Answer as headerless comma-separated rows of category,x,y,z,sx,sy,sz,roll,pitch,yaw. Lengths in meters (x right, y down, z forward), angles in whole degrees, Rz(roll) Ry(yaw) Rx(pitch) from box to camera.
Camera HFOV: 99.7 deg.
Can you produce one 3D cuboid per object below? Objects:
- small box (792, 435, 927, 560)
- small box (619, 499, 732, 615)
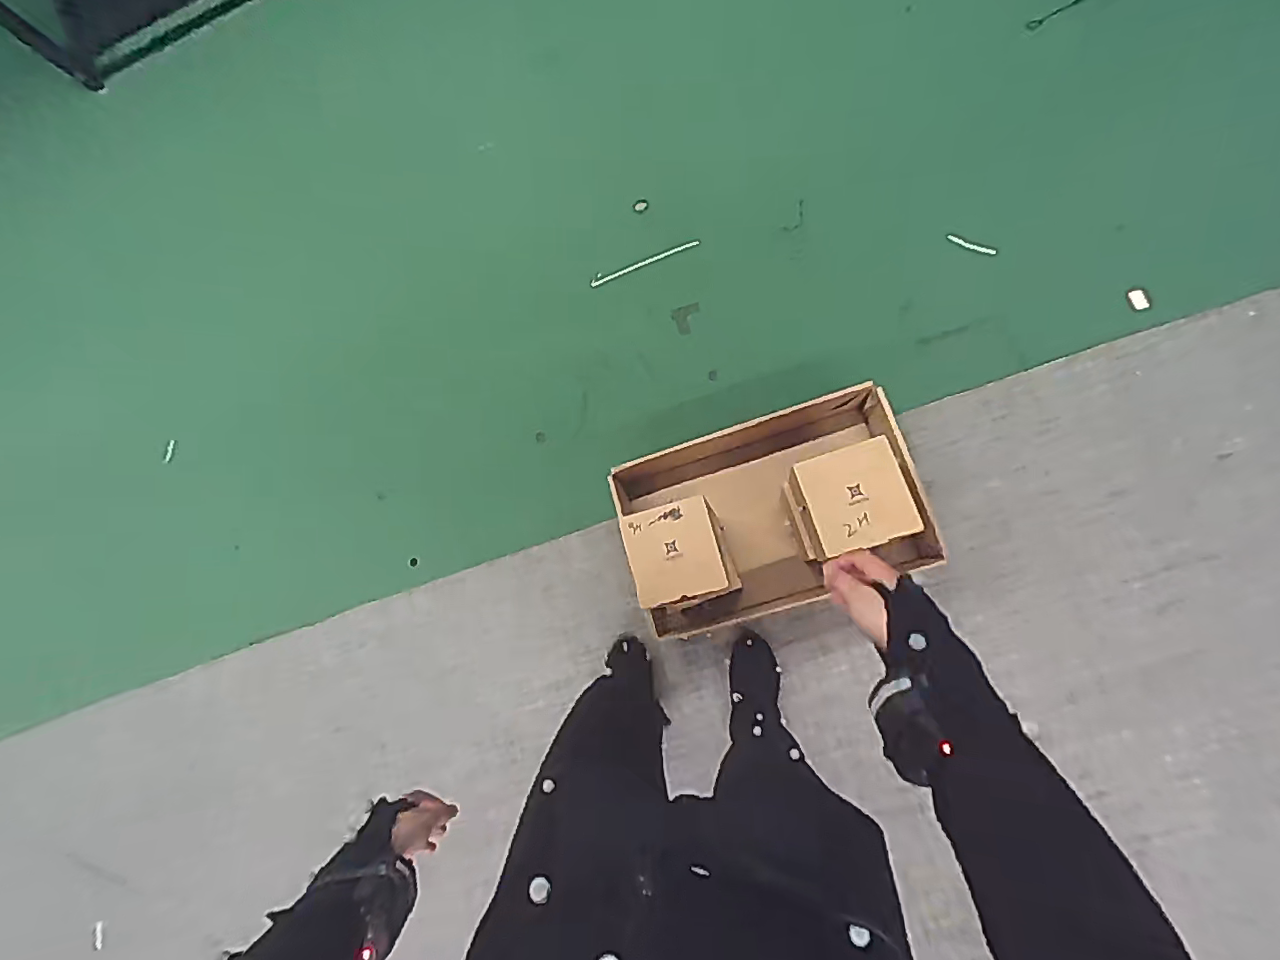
small box,0.386,0.042,0.987,0.168,0.176,0.179,-19,77,9
small box,0.075,0.146,1.033,0.168,0.176,0.179,-17,78,8
